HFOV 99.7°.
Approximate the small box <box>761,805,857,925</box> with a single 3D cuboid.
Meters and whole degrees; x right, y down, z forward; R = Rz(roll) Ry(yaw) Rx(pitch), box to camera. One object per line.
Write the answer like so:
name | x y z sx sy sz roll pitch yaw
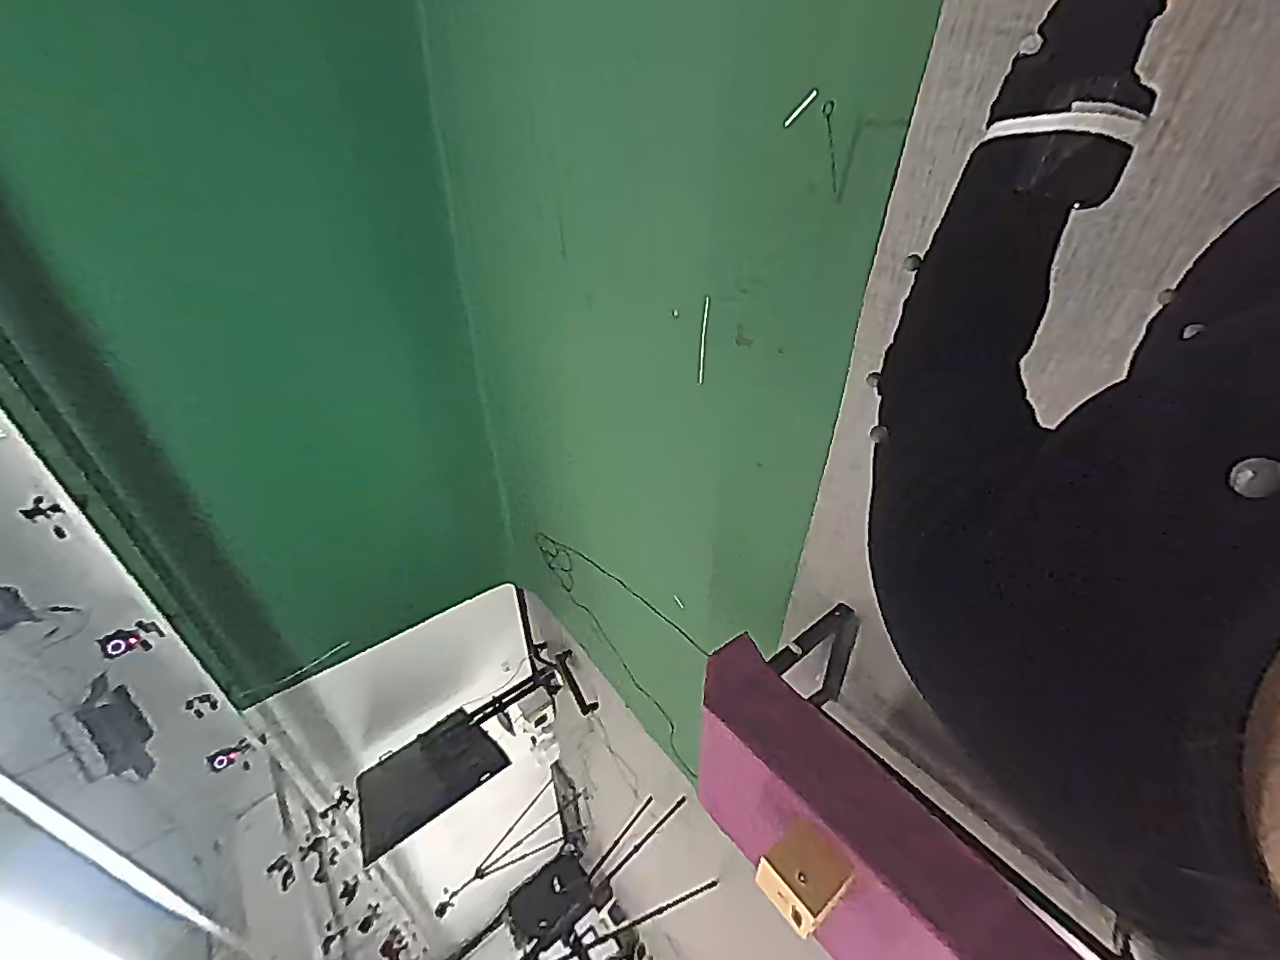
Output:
small box | 0.457 1.036 1.466 0.179 0.176 0.168 37 140 41
